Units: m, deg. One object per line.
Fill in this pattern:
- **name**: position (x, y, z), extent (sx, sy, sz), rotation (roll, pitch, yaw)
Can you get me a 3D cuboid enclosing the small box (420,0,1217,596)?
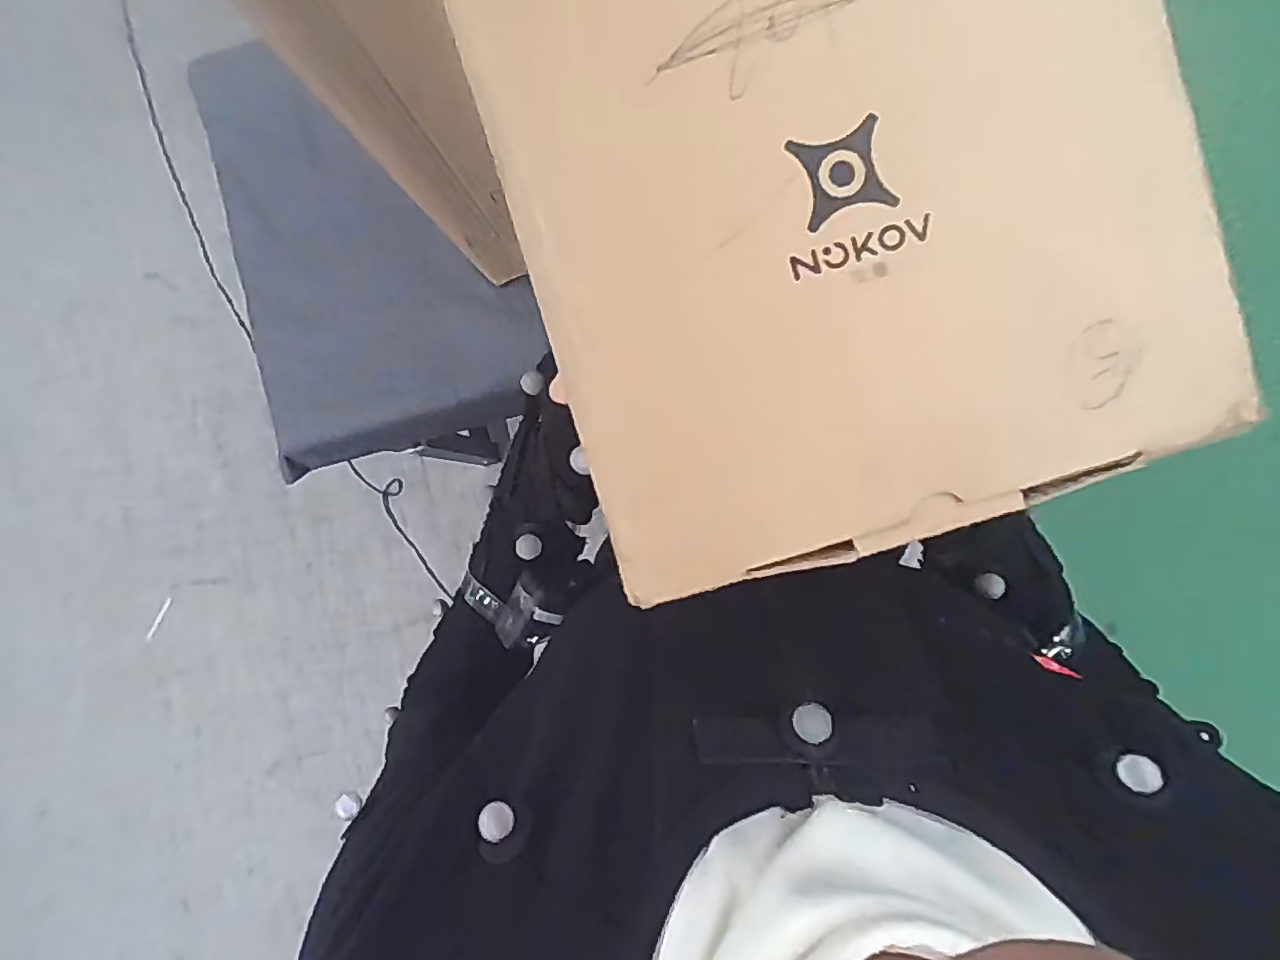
- **small box**: position (0.045, -0.076, 0.216), extent (0.168, 0.176, 0.179), rotation (-17, 91, 2)
